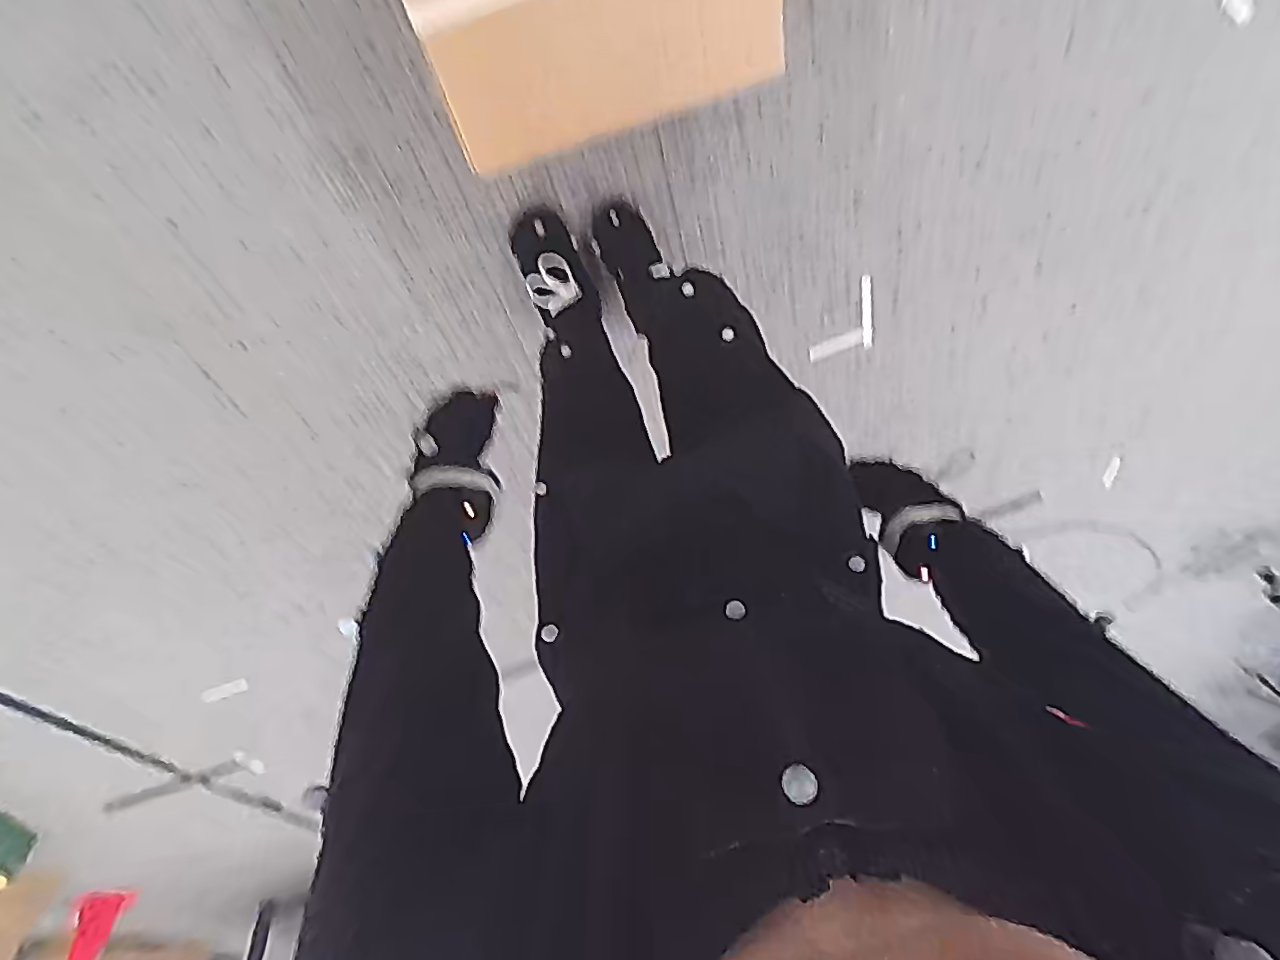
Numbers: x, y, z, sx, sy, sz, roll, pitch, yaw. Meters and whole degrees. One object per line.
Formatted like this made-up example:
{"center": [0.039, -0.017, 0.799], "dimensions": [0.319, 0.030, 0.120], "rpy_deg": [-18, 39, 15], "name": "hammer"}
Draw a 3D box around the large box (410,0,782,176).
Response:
{"center": [-0.079, -0.643, 0.687], "dimensions": [0.408, 0.320, 0.320], "rpy_deg": [-18, 132, 1], "name": "large box"}
